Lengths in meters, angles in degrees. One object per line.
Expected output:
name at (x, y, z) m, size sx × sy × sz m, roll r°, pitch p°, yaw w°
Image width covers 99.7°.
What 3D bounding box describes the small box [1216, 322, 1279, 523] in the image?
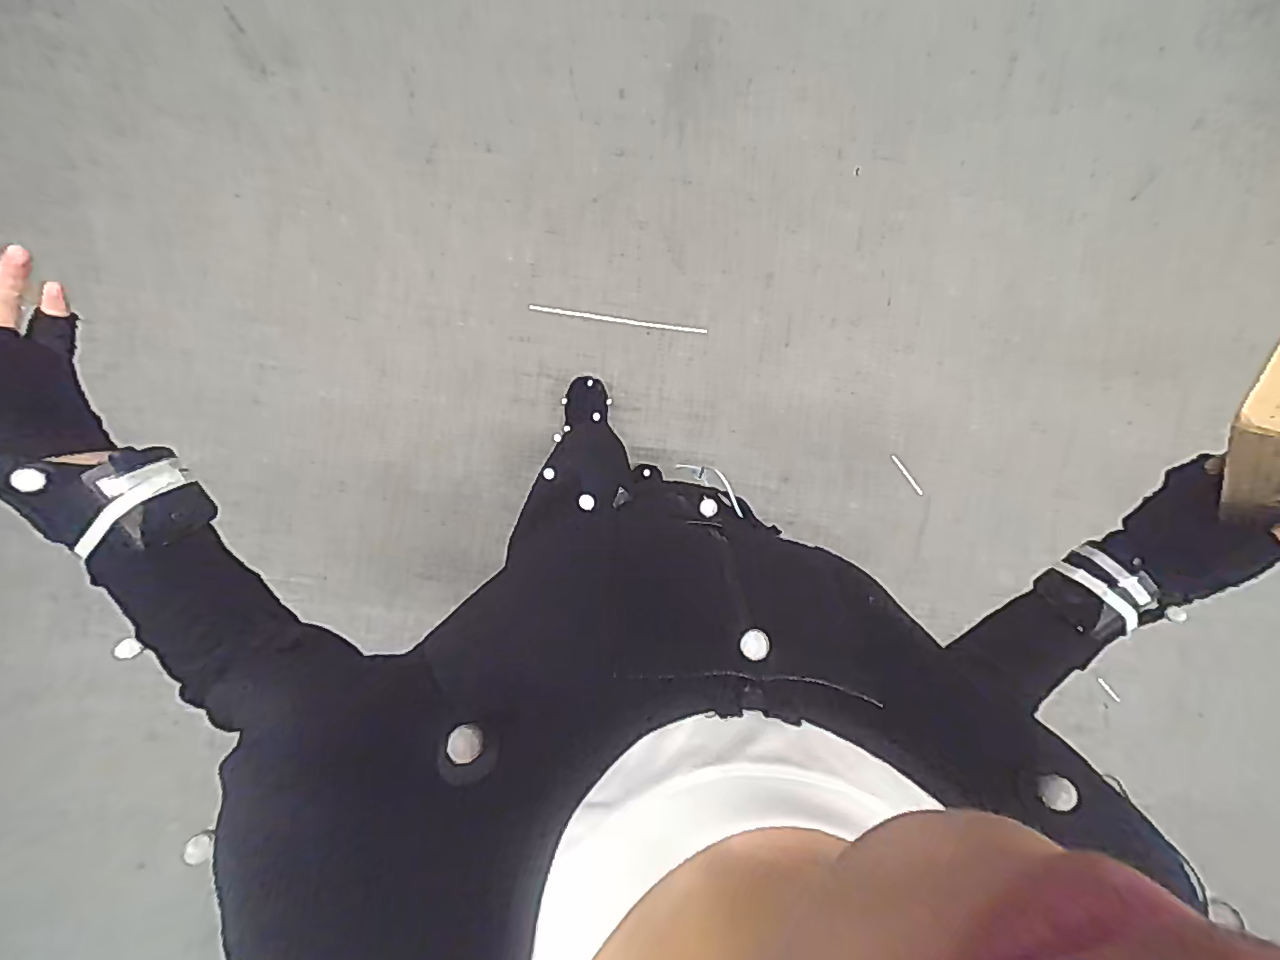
small box at (0.482, -0.050, 0.308) m, size 0.179 × 0.176 × 0.168 m, roll 29°, pitch 91°, yaw -42°
